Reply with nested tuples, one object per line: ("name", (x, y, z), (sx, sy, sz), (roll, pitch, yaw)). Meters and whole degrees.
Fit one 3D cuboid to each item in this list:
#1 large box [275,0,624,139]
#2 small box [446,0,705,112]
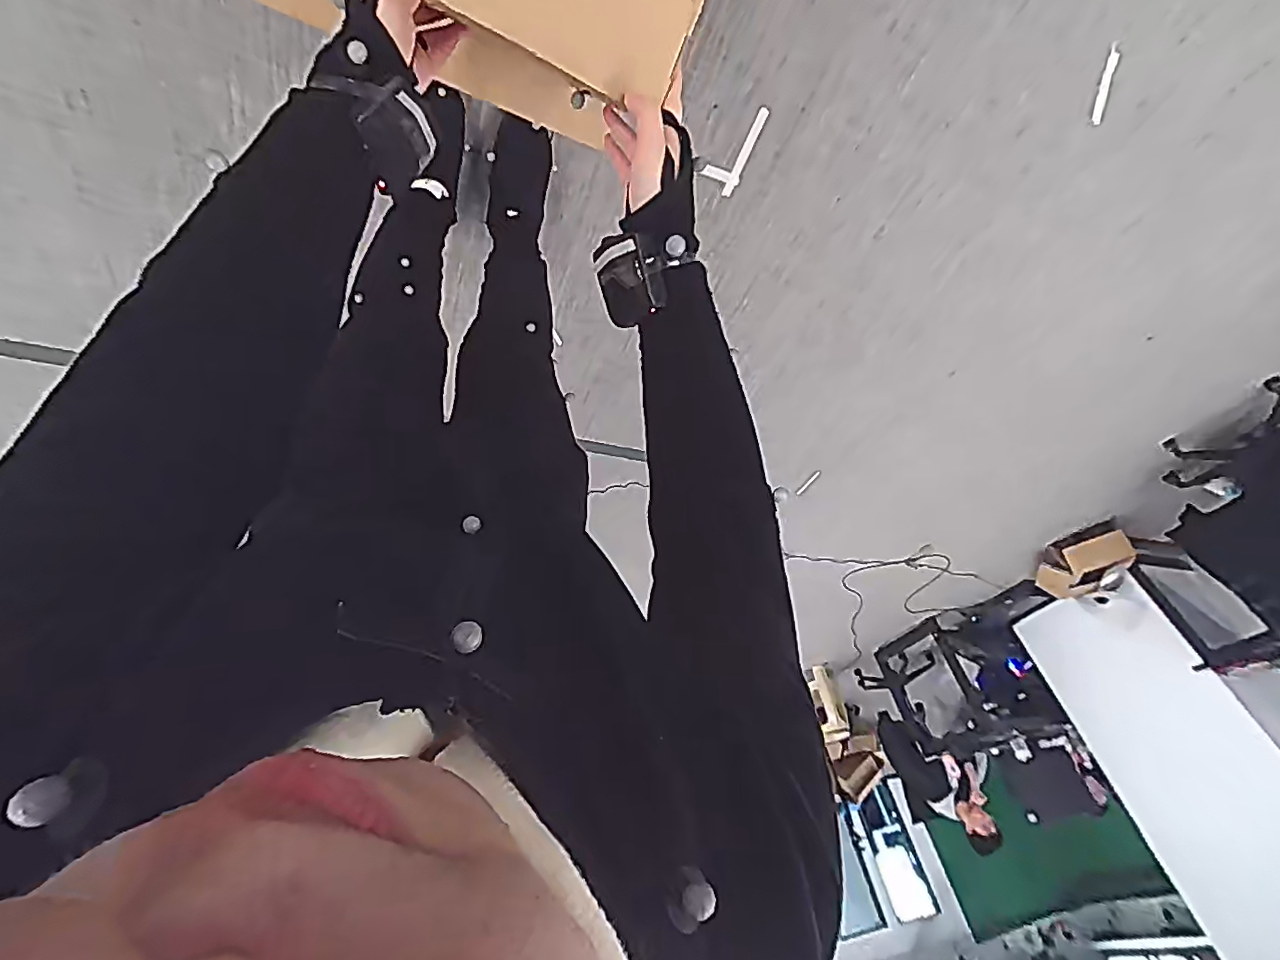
("large box", (-0.175, -0.625, 0.530), (0.408, 0.320, 0.320), (10, 136, -24))
("small box", (-0.050, -0.411, 0.397), (0.179, 0.176, 0.168), (9, 124, -31))
